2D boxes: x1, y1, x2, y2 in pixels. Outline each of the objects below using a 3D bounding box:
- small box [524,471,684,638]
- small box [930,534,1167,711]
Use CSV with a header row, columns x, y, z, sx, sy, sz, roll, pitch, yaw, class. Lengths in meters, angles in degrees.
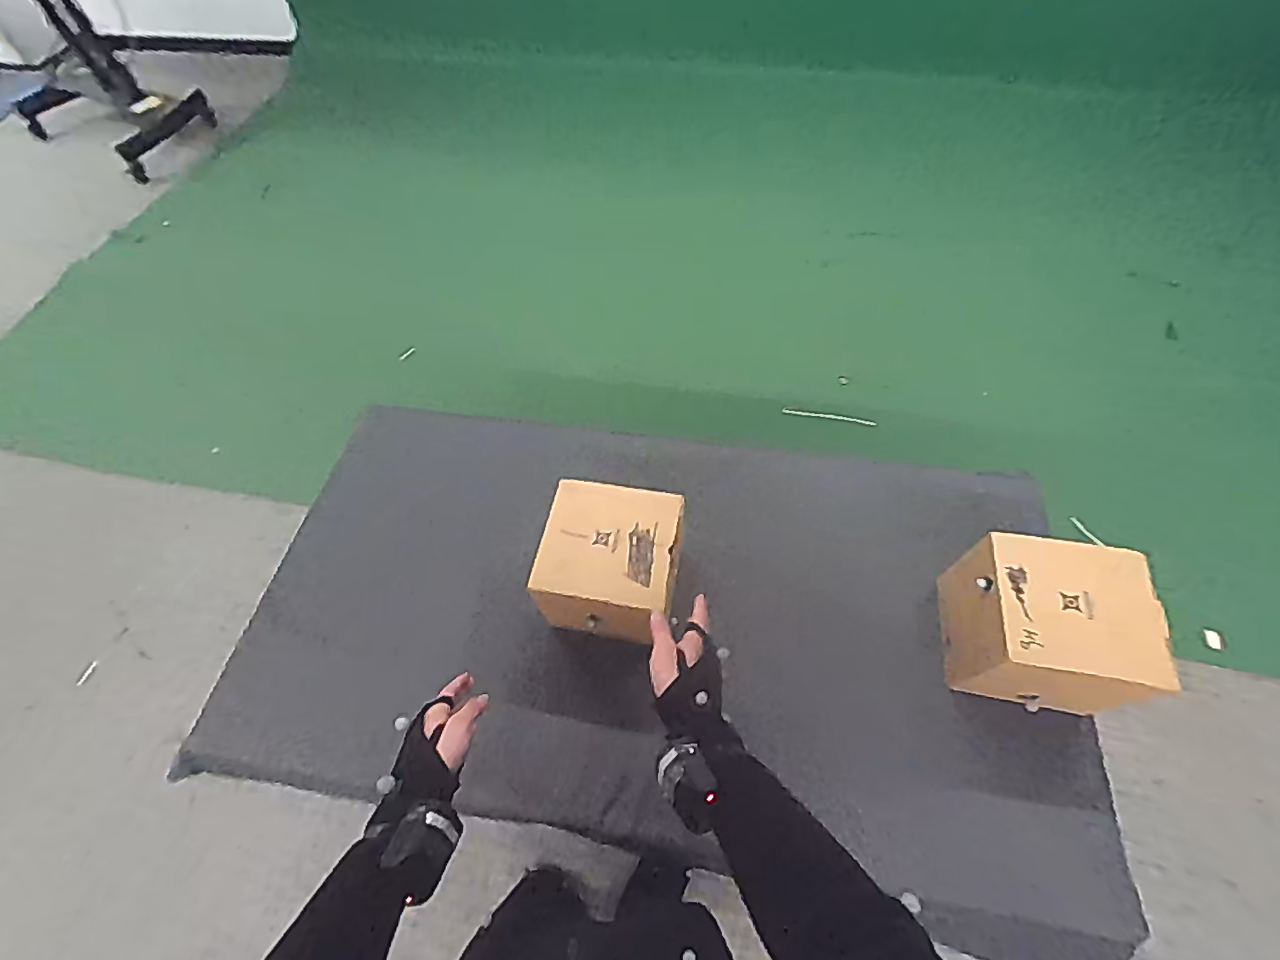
x,y,z,sx,sy,sz,roll,pitch,yaw,class
-0.041,0.112,0.761,0.179,0.176,0.168,10,59,7,small box
0.509,0.193,0.706,0.179,0.176,0.168,10,59,7,small box
